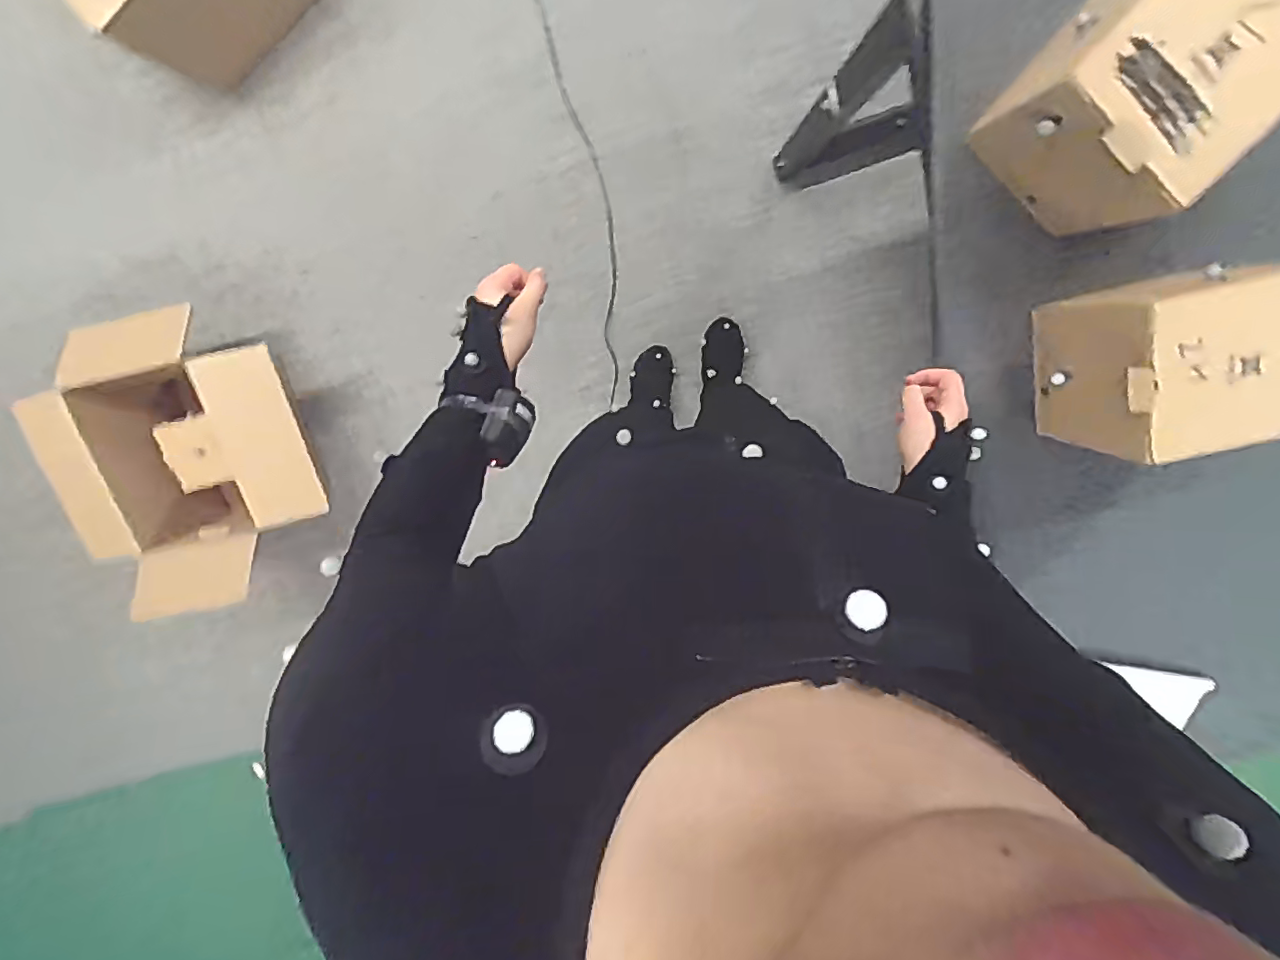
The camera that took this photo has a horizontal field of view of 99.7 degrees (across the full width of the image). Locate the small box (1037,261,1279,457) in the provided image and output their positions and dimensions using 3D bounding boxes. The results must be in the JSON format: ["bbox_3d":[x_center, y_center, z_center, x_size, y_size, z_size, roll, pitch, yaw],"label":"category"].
[{"bbox_3d":[0.589,-0.139,0.601,0.179,0.176,0.168,-13,104,5],"label":"small box"}]
